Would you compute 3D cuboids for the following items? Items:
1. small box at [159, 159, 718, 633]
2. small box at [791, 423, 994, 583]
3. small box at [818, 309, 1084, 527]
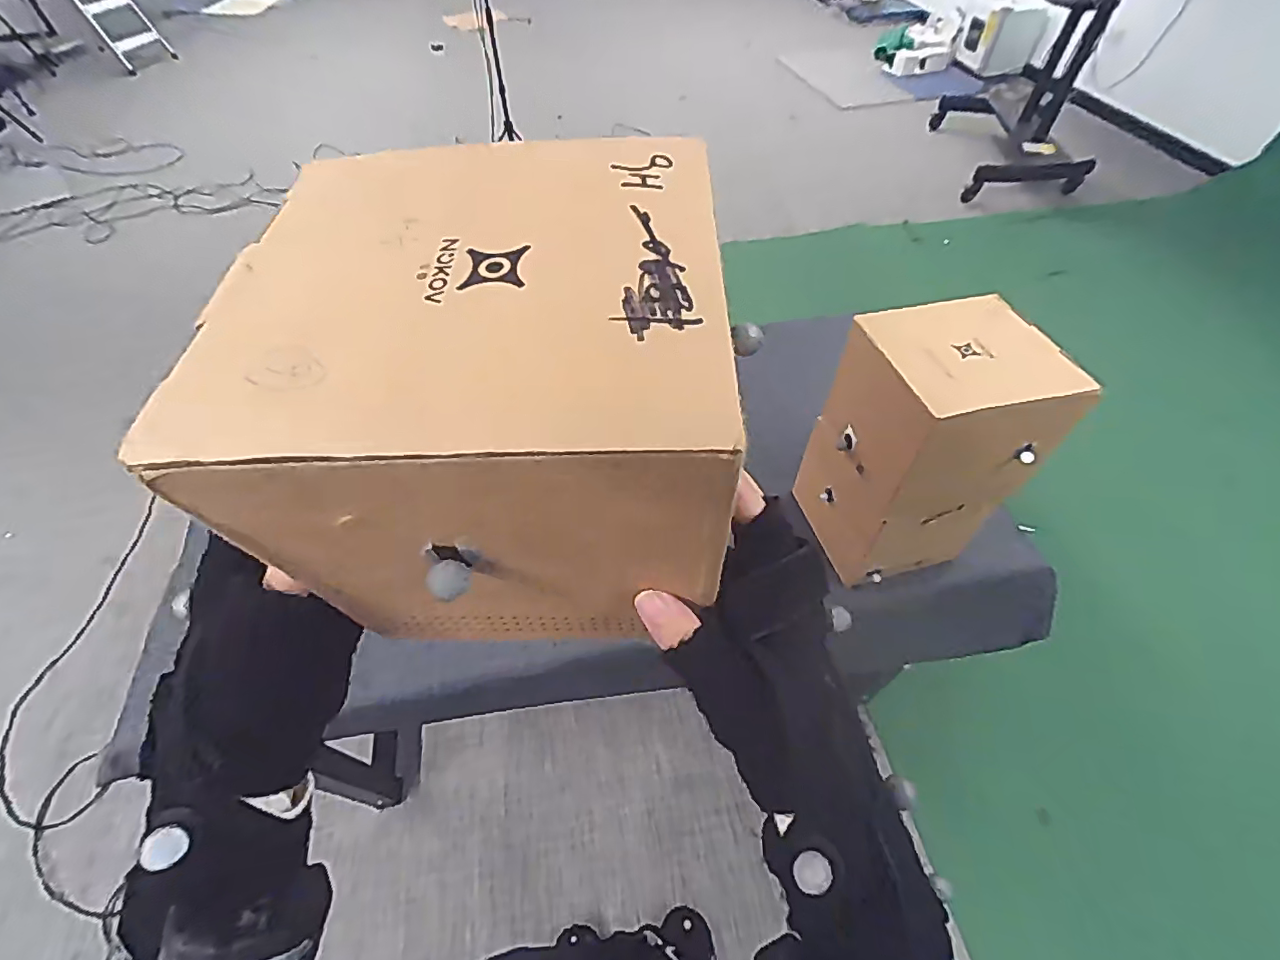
[{"bbox_3d":[-0.056,-0.028,0.270,0.179,0.176,0.168,-1,57,3],"label":"small box"},{"bbox_3d":[0.332,0.026,0.753,0.168,0.176,0.179,-12,51,-9],"label":"small box"},{"bbox_3d":[0.331,-0.068,0.621,0.179,0.176,0.168,-11,50,-6],"label":"small box"}]
